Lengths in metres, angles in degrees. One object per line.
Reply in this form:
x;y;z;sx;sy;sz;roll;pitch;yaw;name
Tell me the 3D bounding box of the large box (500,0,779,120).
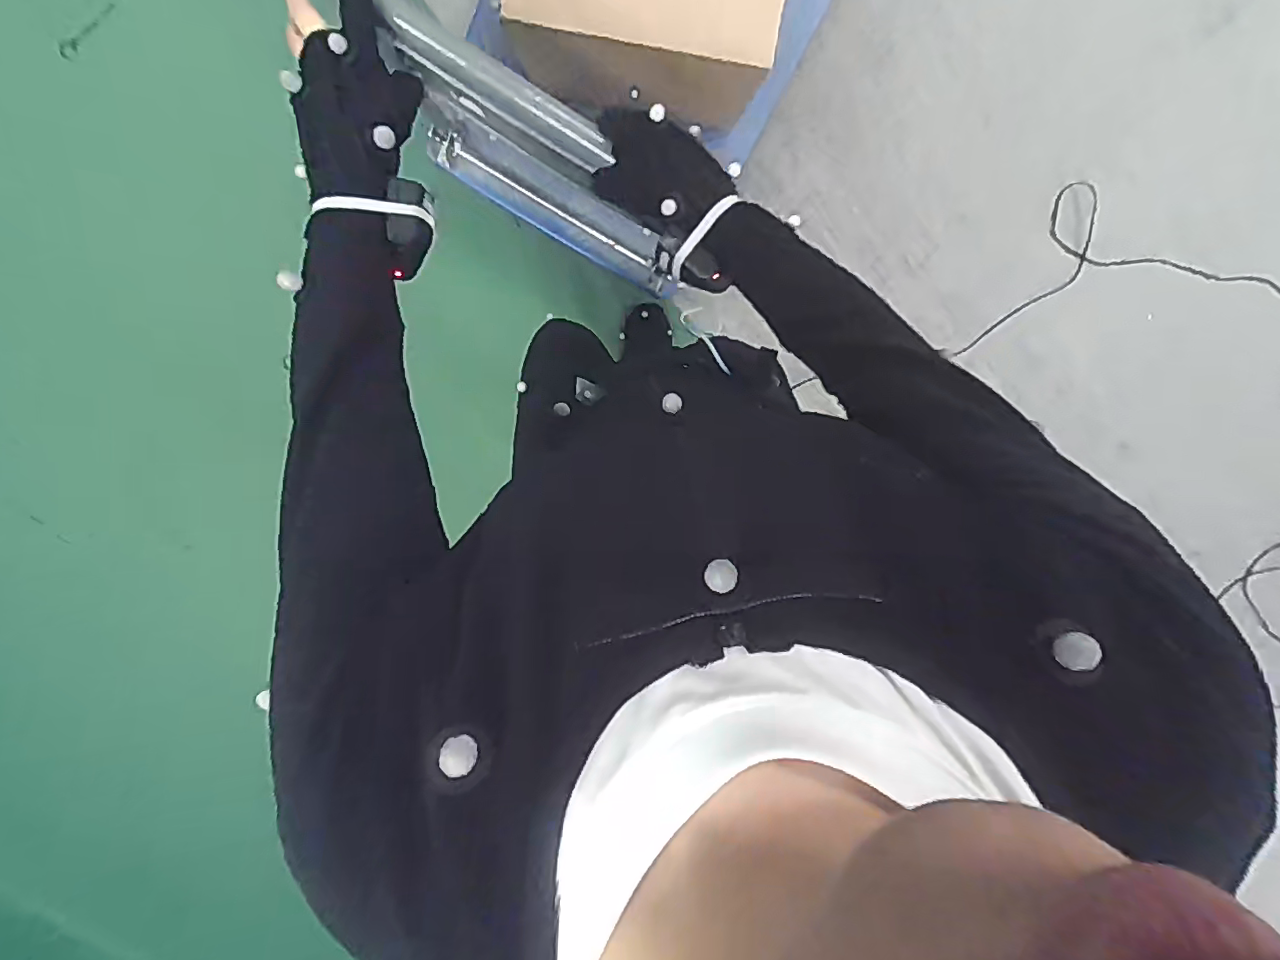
0.013;-0.833;0.884;0.408;0.320;0.320;8;108;-3;large box
